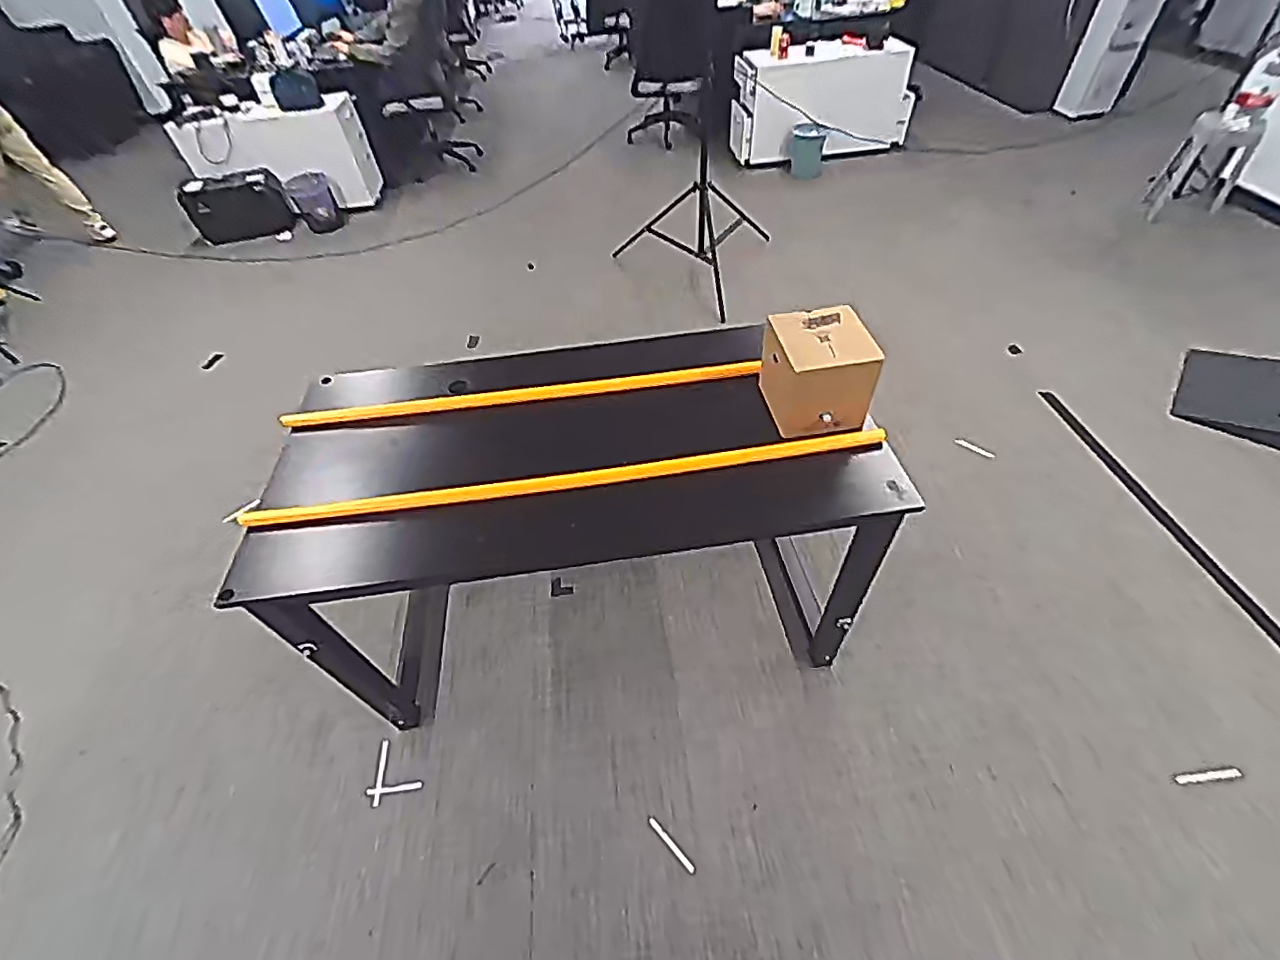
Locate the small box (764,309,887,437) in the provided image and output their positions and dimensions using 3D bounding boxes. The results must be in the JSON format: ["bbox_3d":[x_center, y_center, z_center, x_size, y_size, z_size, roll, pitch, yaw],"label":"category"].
[{"bbox_3d":[0.351,-0.209,1.061,0.168,0.176,0.179,-8,49,-1],"label":"small box"}]
